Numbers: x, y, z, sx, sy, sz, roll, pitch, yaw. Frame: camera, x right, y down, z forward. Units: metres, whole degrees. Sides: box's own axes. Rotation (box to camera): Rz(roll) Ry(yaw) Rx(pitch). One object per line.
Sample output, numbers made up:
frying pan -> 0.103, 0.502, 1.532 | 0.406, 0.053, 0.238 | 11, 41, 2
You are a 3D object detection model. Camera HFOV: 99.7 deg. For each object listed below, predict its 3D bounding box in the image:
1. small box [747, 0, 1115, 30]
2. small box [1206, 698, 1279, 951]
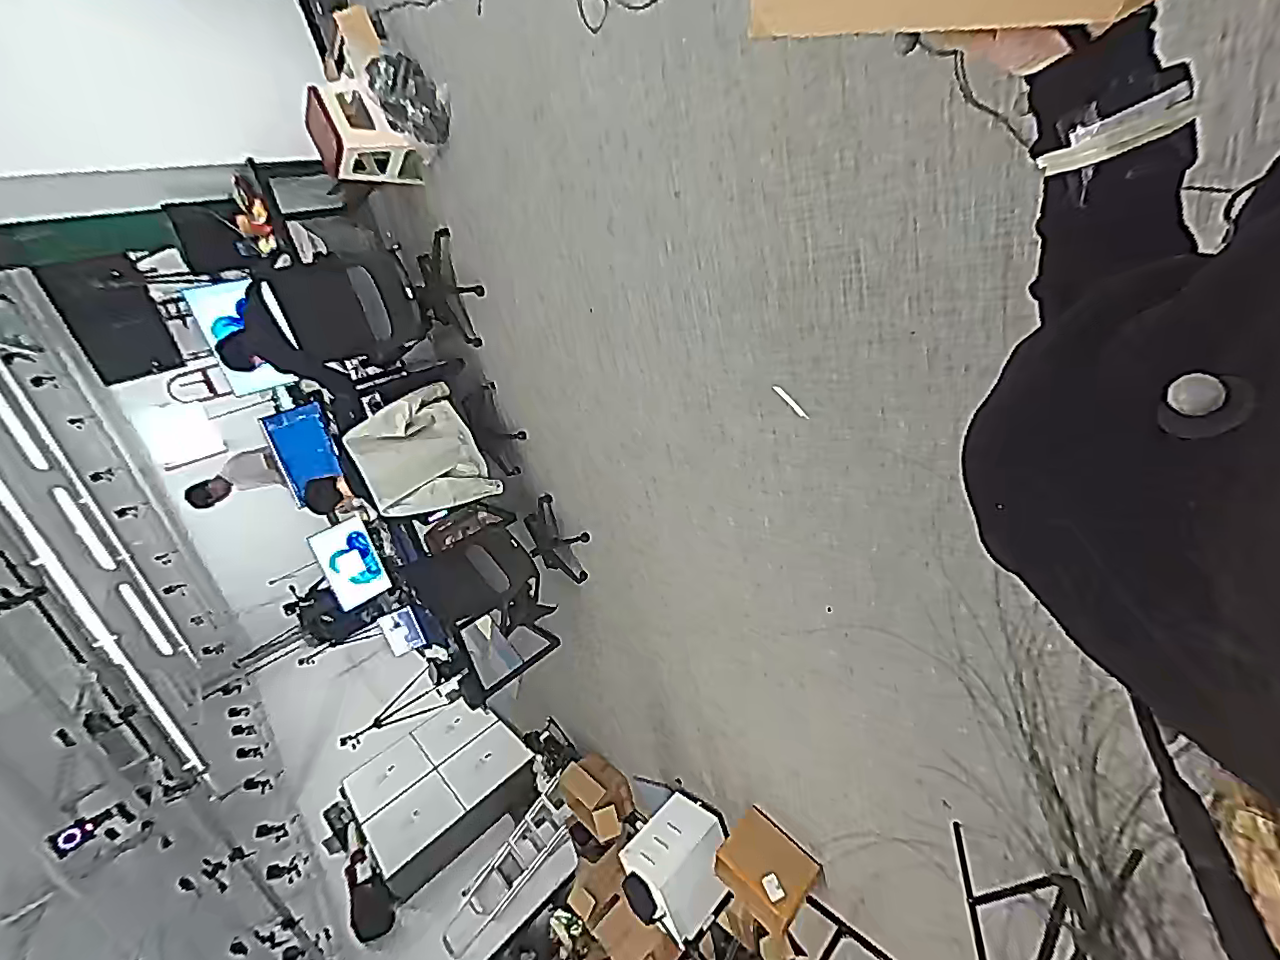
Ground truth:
small box -> 0.170, -0.320, 0.243 | 0.179, 0.176, 0.168 | 29, 146, 33
small box -> 0.672, 0.345, 0.504 | 0.168, 0.176, 0.179 | 15, 128, 47
